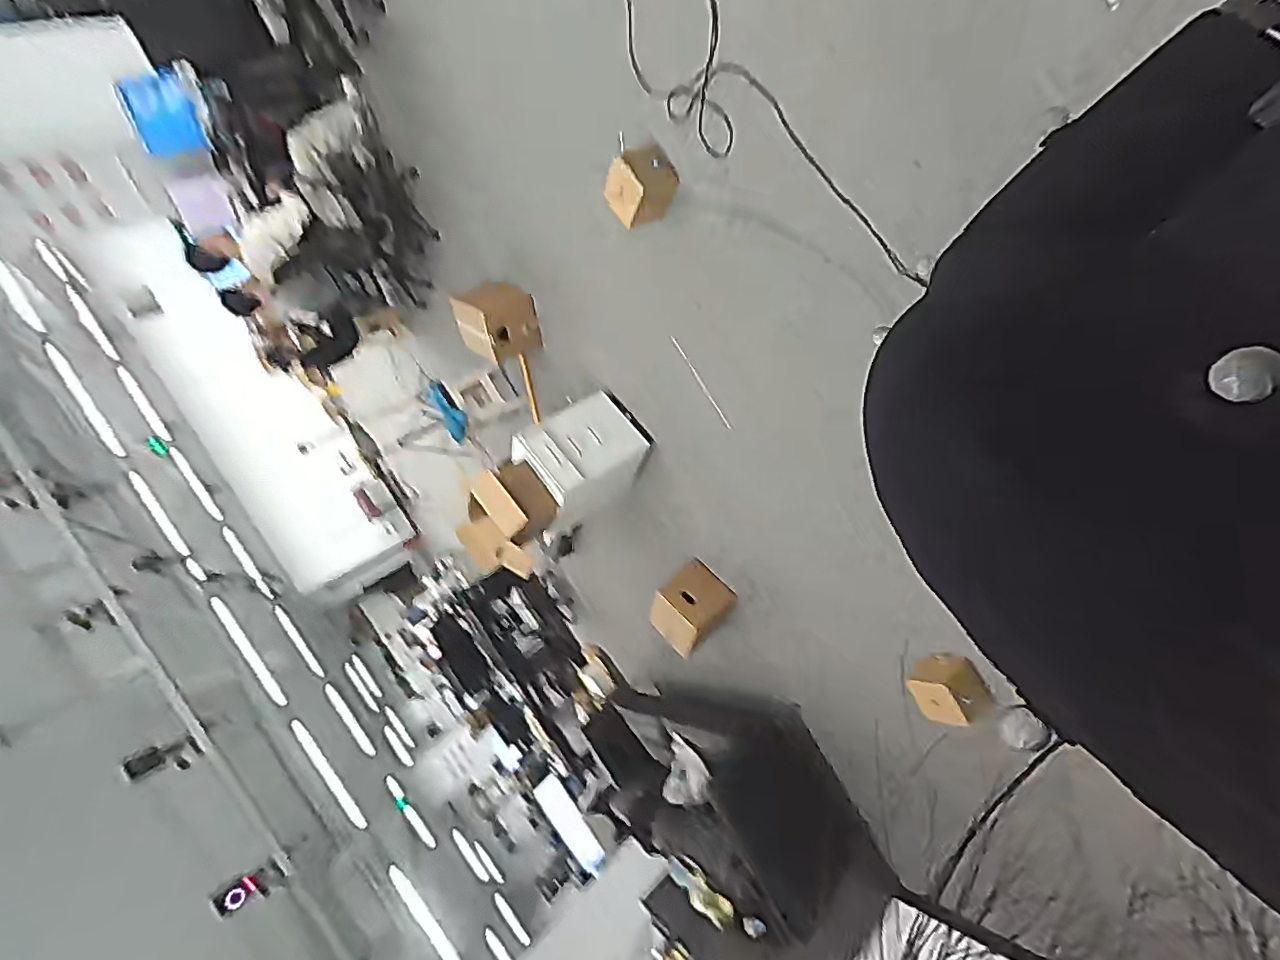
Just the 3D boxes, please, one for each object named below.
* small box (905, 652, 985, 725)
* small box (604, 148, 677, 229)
[{"bbox_3d":[1.122,0.759,1.981,0.179,0.176,0.168,59,150,-2],"label":"small box"},{"bbox_3d":[0.004,-1.027,1.903,0.168,0.176,0.179,54,151,6],"label":"small box"}]
